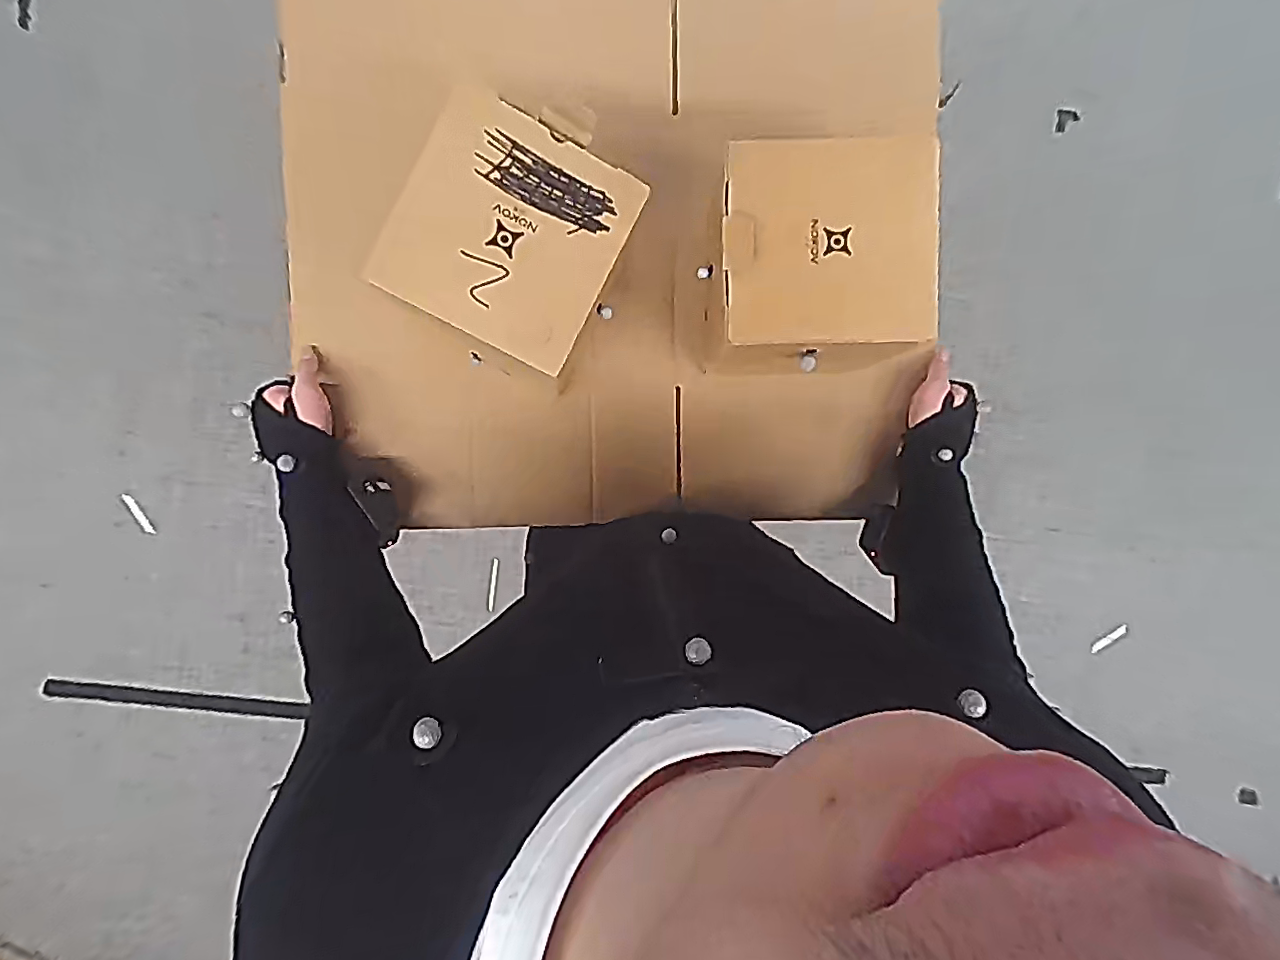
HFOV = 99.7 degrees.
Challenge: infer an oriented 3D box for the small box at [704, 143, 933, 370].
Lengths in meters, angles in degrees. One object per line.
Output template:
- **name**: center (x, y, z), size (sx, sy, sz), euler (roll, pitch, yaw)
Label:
- **small box**: center (0.161, -0.206, 0.540), size (0.179, 0.176, 0.168), euler (-1, 92, 1)
